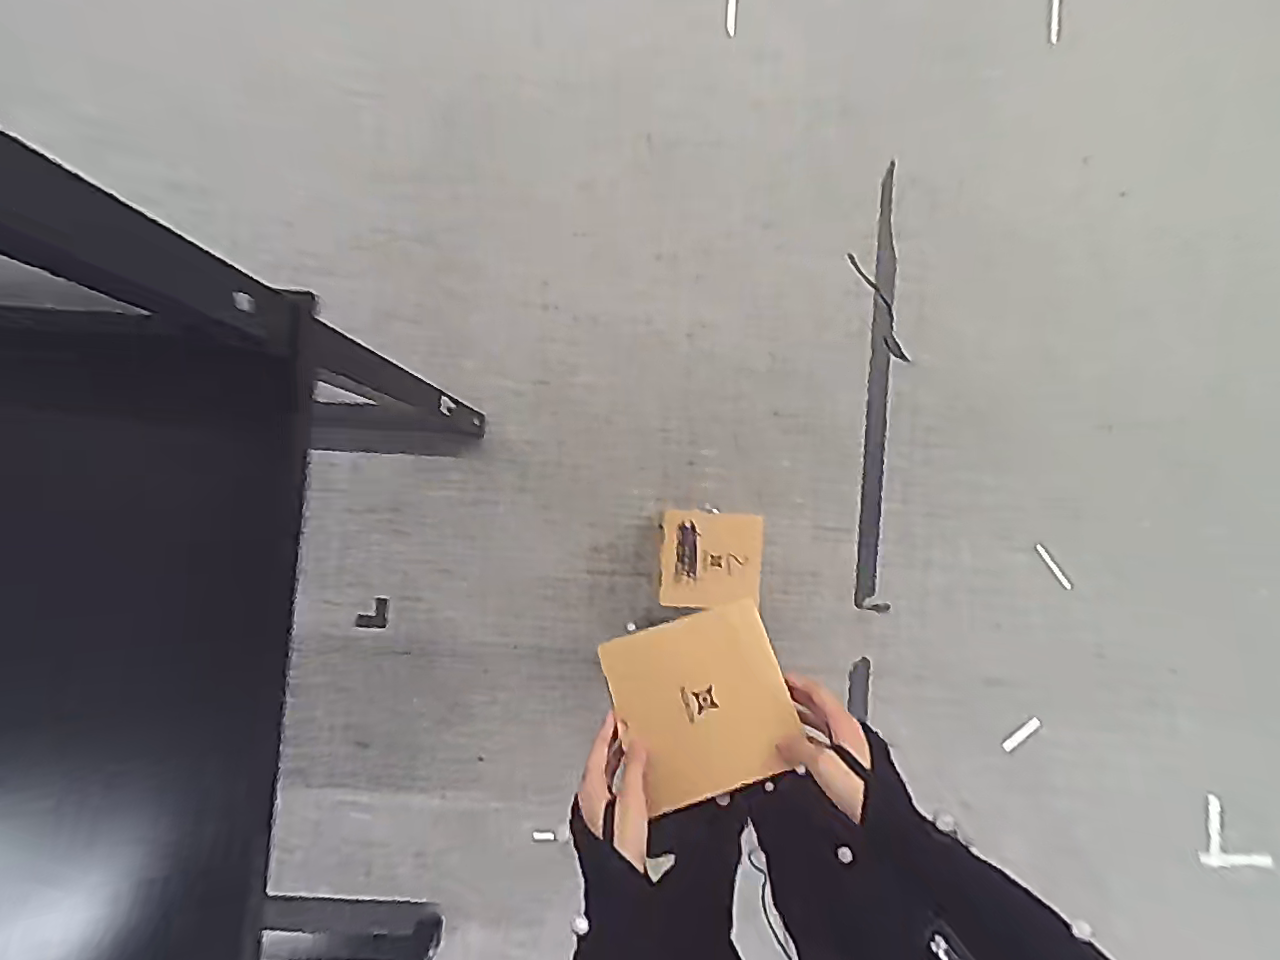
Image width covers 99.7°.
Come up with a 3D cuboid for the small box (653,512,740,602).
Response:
[{"bbox_3d":[0.116,0.159,1.167,0.168,0.176,0.179,1,88,-1],"label":"small box"}]

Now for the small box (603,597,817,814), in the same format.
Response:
[{"bbox_3d":[0.071,0.245,0.615,0.179,0.176,0.168,-18,70,-2],"label":"small box"}]
